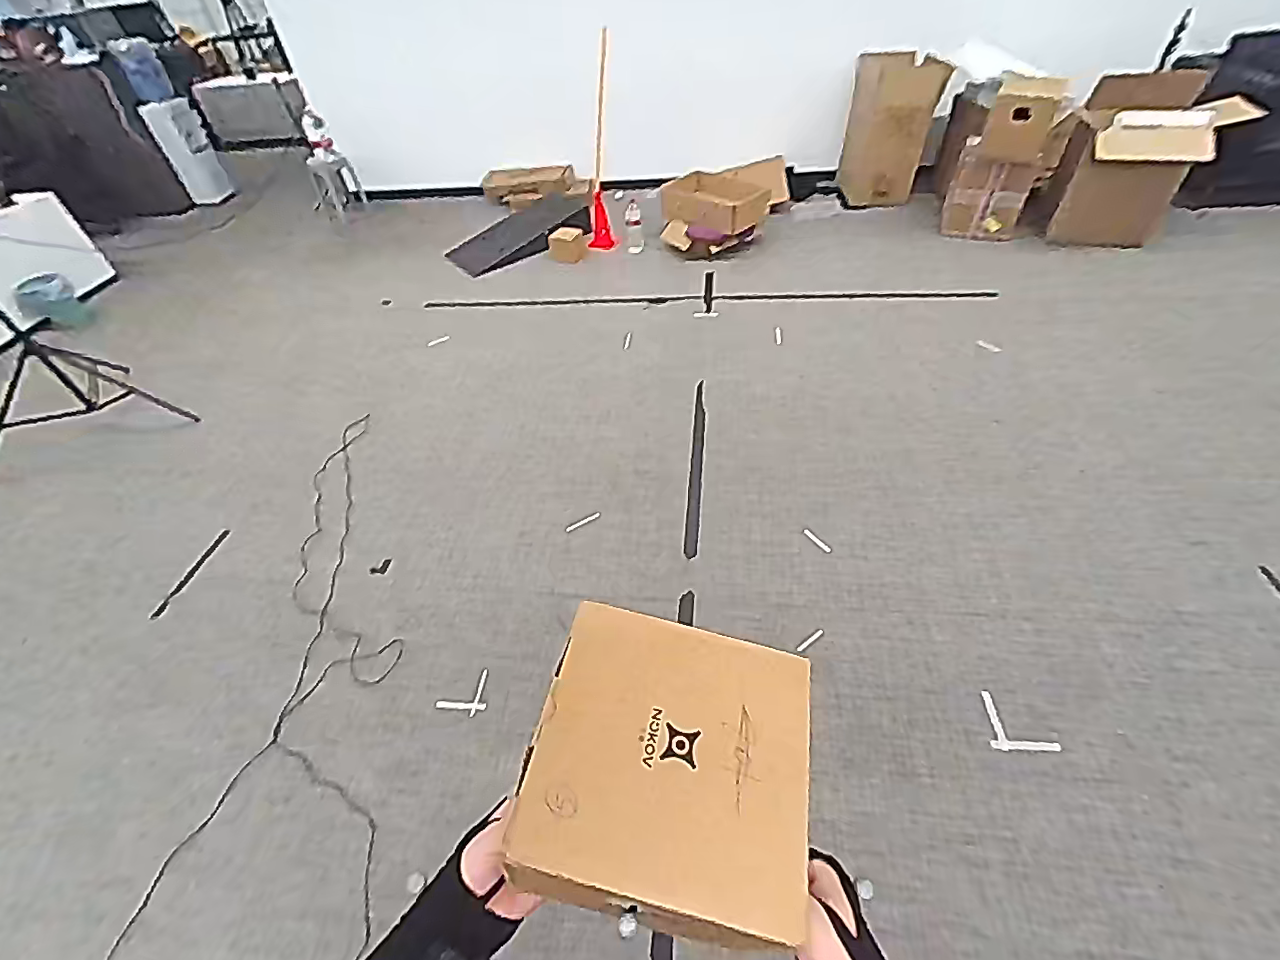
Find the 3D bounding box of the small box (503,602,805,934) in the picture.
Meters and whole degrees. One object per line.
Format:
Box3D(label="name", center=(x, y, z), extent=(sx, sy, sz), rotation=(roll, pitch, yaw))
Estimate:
Box3D(label="small box", center=(0.012, 0.223, 0.414), extent=(0.179, 0.176, 0.168), rotation=(14, 48, 3))
